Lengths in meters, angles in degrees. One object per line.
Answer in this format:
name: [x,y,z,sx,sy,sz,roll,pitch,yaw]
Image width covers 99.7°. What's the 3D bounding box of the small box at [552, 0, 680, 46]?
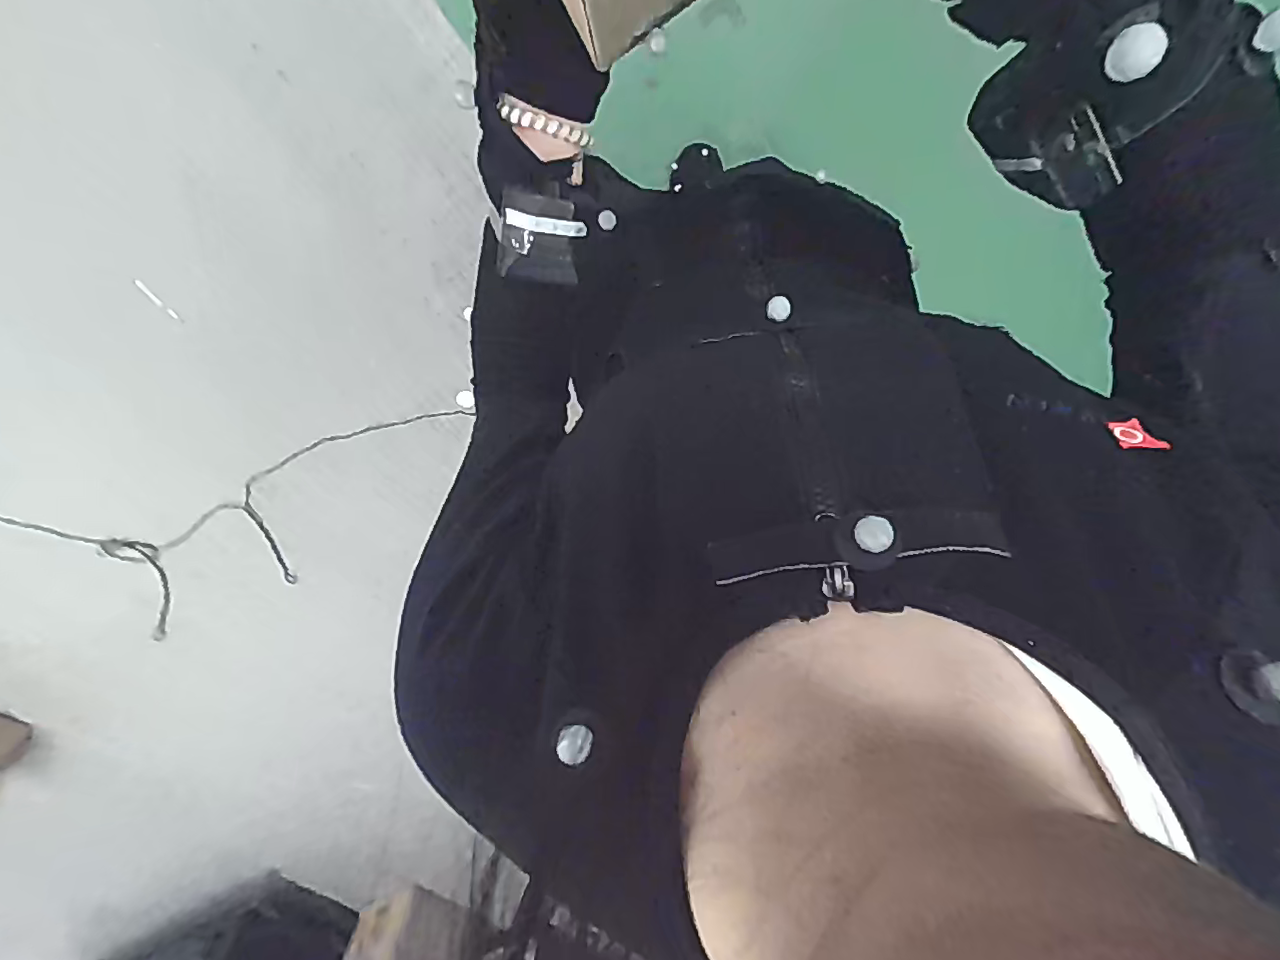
small box: [-0.001,-0.294,0.186,0.168,0.176,0.179,-29,116,14]
